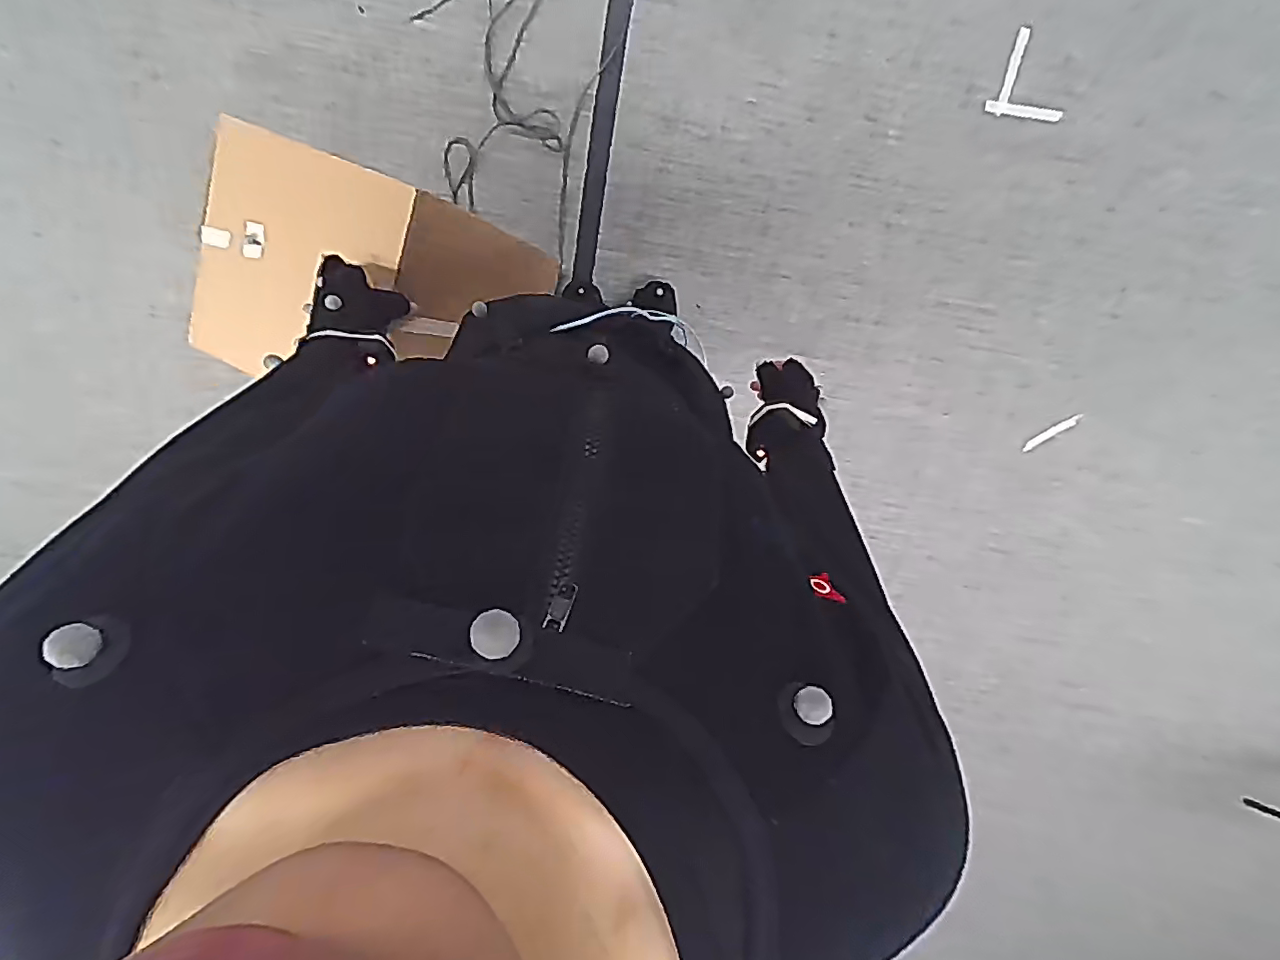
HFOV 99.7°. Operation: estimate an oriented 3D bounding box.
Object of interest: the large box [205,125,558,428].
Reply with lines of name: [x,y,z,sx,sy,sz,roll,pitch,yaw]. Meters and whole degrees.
large box: [-0.397,-0.306,0.897,0.320,0.408,0.320,27,107,10]
